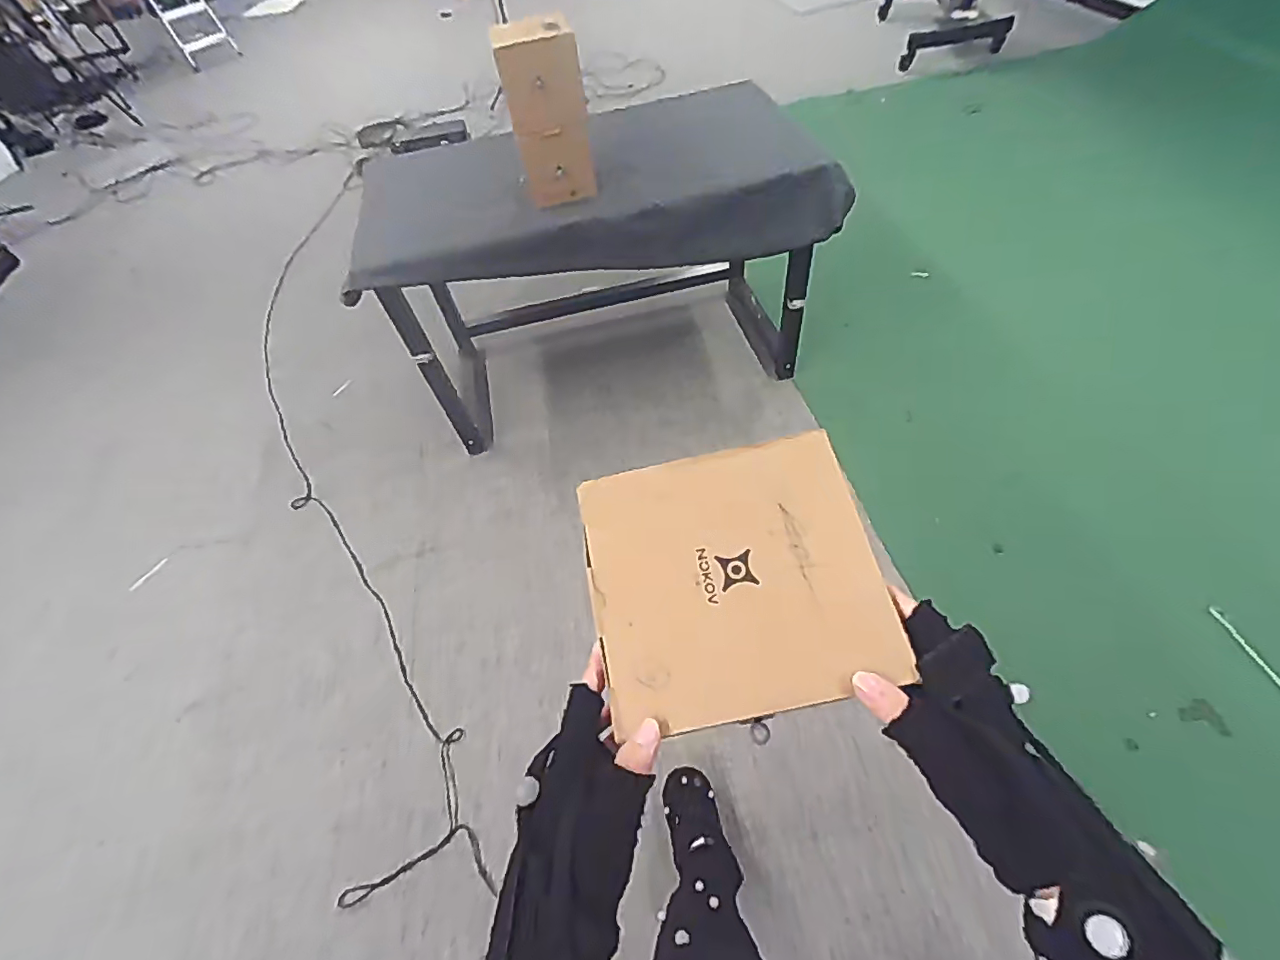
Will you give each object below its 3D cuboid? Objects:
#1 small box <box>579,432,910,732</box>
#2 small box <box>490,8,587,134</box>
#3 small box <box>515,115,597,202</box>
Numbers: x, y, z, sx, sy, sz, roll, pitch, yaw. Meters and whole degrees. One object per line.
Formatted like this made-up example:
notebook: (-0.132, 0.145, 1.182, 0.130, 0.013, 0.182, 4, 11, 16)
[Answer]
small box: (0.063, 0.088, 0.413, 0.179, 0.176, 0.168, -12, 67, -1)
small box: (-0.220, -0.906, 1.202, 0.179, 0.176, 0.168, -14, 54, -2)
small box: (-0.210, -0.812, 1.336, 0.168, 0.176, 0.179, -15, 54, -4)
